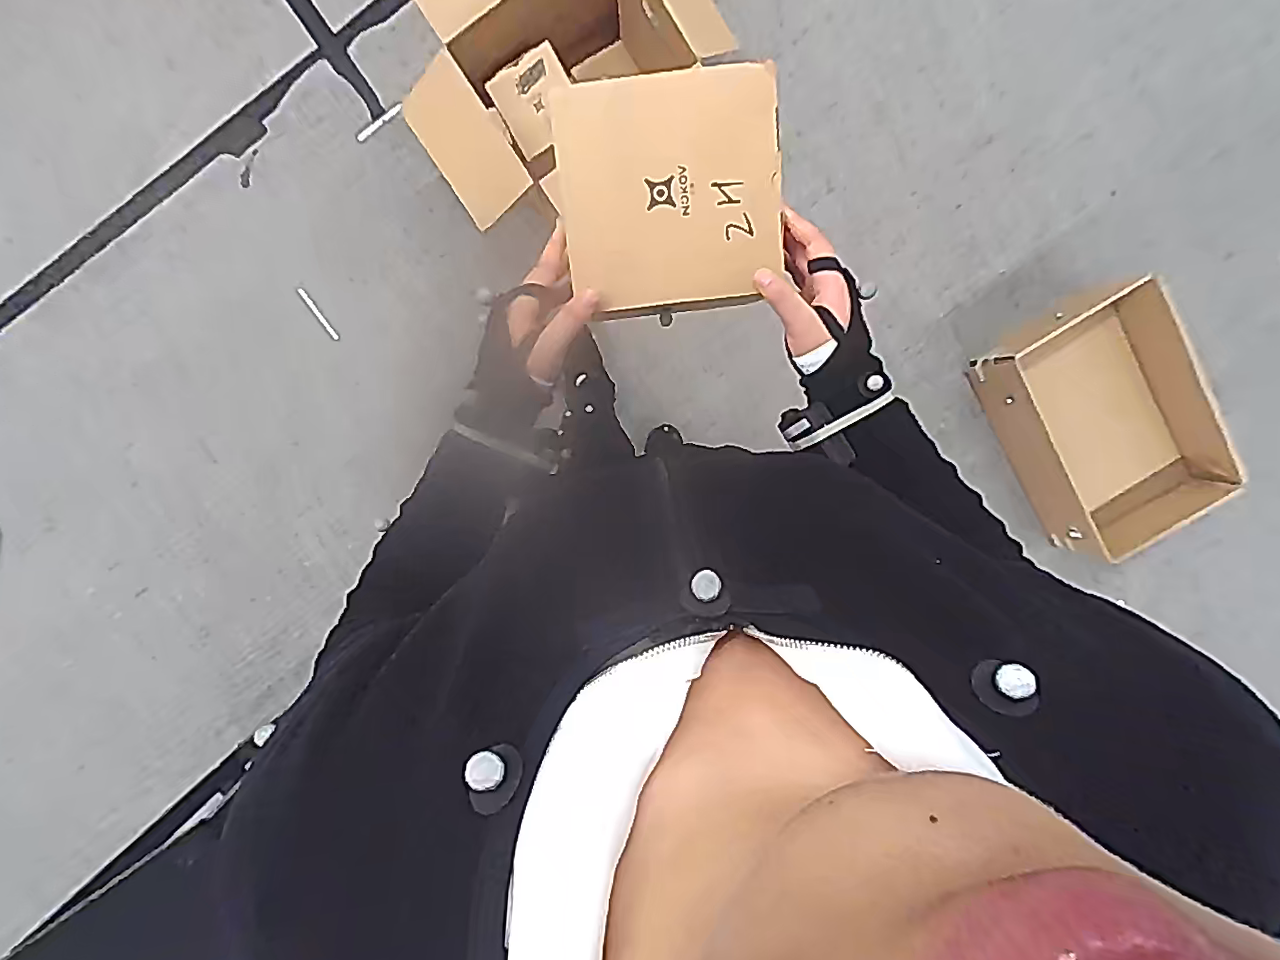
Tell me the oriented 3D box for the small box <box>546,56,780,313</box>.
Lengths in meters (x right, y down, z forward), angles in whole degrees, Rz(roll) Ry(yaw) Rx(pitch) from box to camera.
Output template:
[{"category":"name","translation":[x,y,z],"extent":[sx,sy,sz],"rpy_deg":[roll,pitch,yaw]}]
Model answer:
[{"category":"small box","translation":[0.021,-0.253,0.506],"extent":[0.179,0.176,0.168],"rpy_deg":[-7,105,0]}]
